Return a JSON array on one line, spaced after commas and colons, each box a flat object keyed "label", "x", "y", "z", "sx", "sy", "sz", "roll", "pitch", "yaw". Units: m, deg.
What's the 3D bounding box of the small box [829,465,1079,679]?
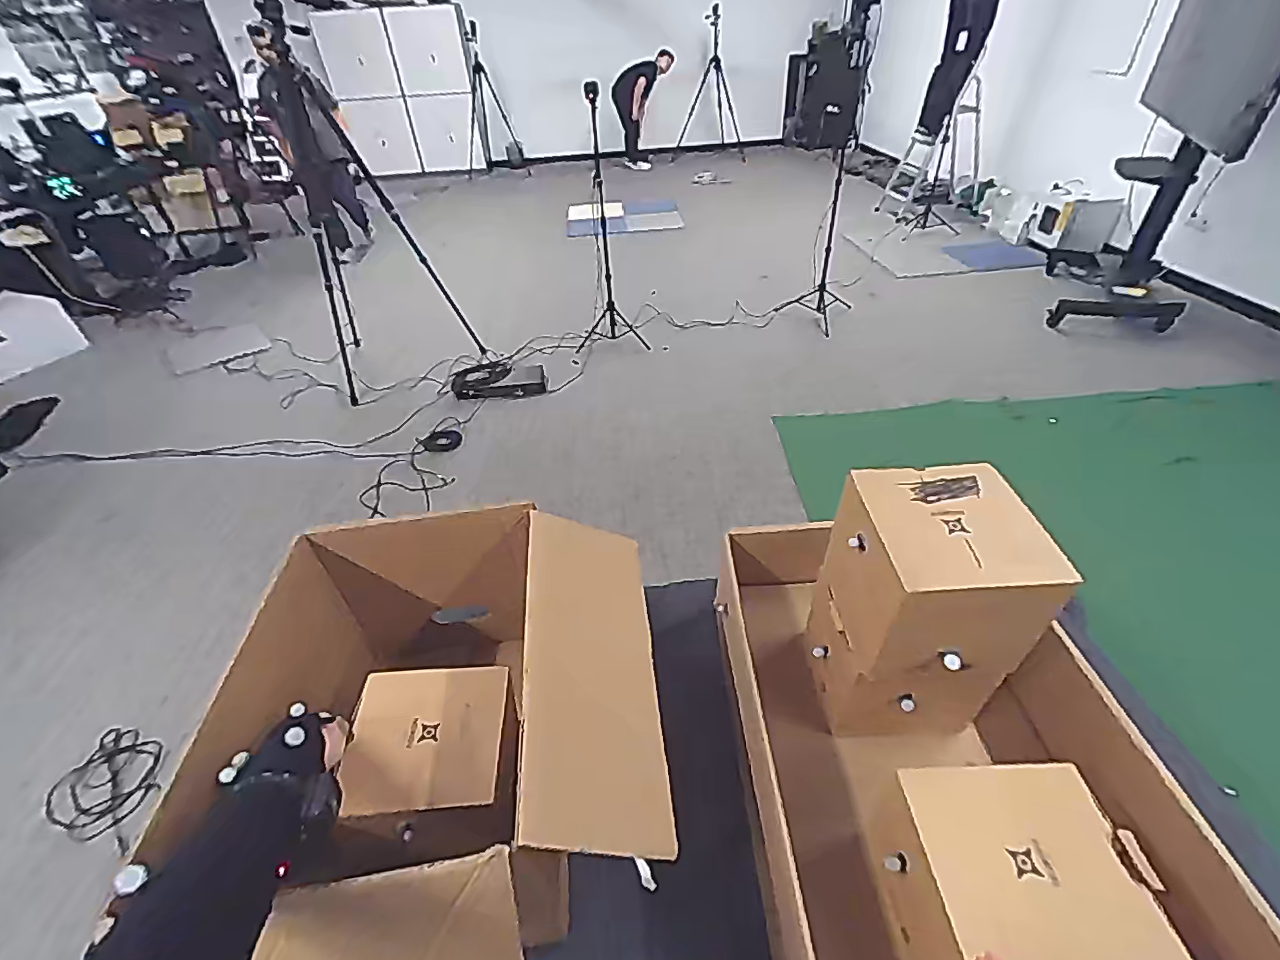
[{"label": "small box", "x": 0.330, "y": 0.104, "z": 0.618, "sx": 0.168, "sy": 0.176, "sz": 0.179, "roll": -3, "pitch": 42, "yaw": 1}]
